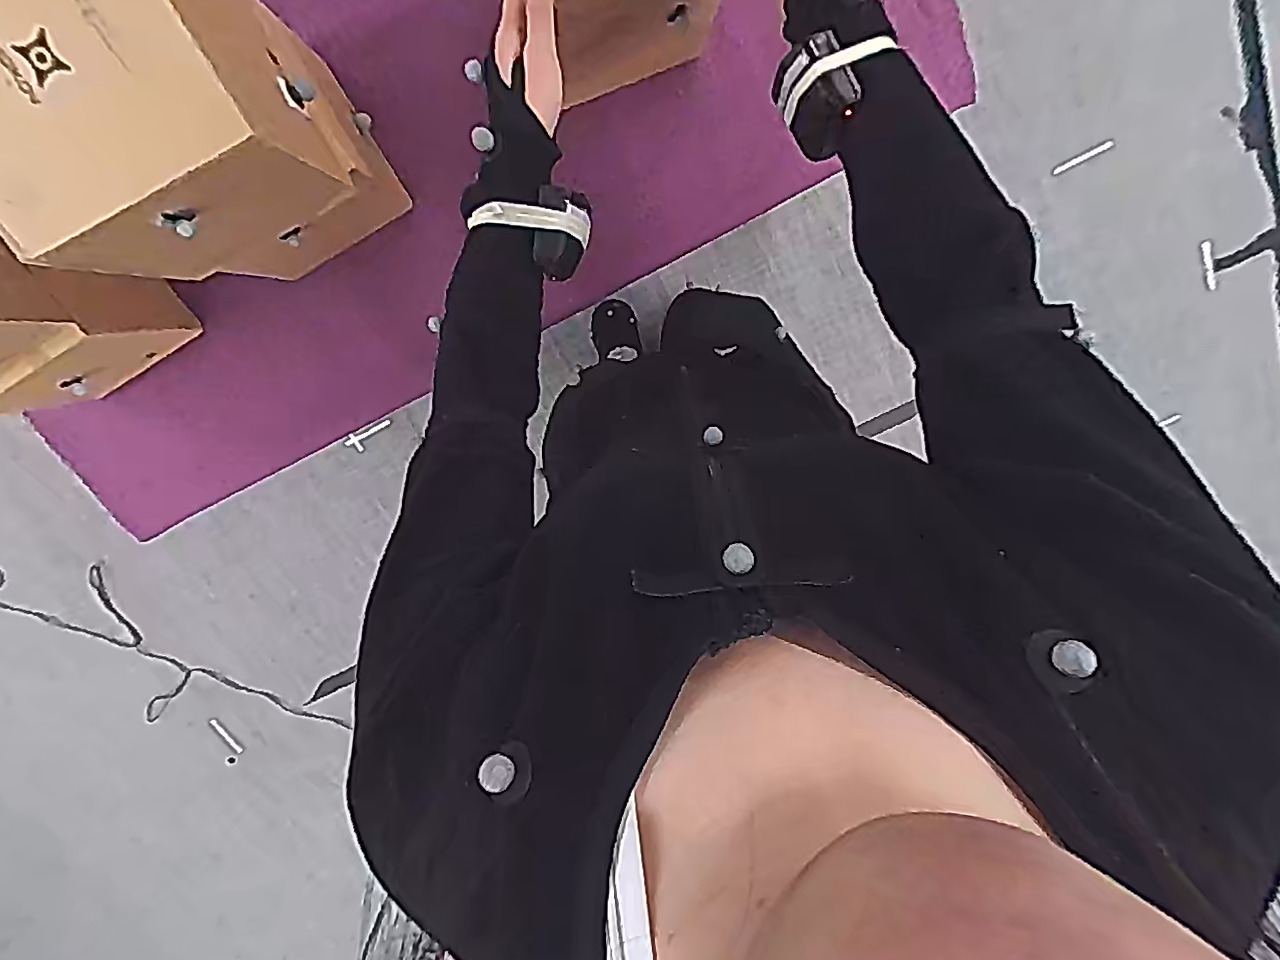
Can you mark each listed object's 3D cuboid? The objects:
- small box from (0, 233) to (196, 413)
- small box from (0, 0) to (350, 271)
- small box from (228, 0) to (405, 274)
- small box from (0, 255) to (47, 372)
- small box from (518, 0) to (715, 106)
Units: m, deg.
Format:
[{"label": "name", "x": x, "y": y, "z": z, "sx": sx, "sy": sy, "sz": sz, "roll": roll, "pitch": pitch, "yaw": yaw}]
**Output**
[{"label": "small box", "x": -0.635, "y": -0.189, "z": 0.565, "sx": 0.168, "sy": 0.176, "sz": 0.179, "roll": -30, "pitch": 106, "yaw": 5}, {"label": "small box", "x": -0.358, "y": -0.269, "z": 0.393, "sx": 0.179, "sy": 0.176, "sz": 0.168, "roll": -27, "pitch": 108, "yaw": 2}, {"label": "small box", "x": -0.375, "y": -0.326, "z": 0.543, "sx": 0.179, "sy": 0.176, "sz": 0.168, "roll": -29, "pitch": 107, "yaw": 4}, {"label": "small box", "x": -0.631, "y": -0.146, "z": 0.407, "sx": 0.179, "sy": 0.176, "sz": 0.168, "roll": -32, "pitch": 106, "yaw": 5}, {"label": "small box", "x": -0.035, "y": -0.501, "z": 0.516, "sx": 0.179, "sy": 0.176, "sz": 0.168, "roll": -20, "pitch": 106, "yaw": 2}]
